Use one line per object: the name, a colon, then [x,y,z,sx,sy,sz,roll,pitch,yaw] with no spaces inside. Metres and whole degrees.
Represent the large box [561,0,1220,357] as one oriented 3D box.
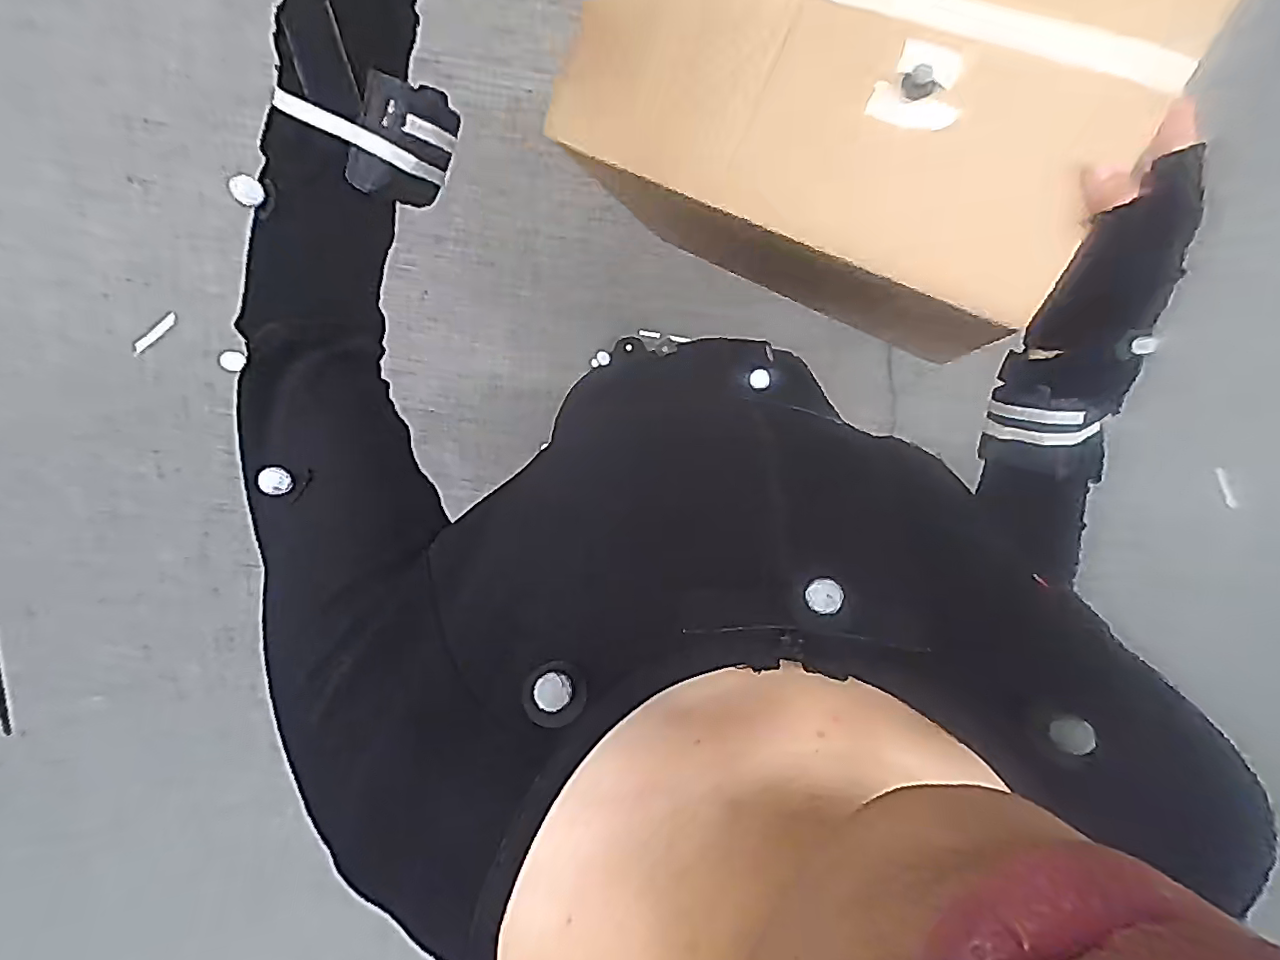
large box: [0.209,-0.356,0.521,0.408,0.320,0.320,31,107,15]
